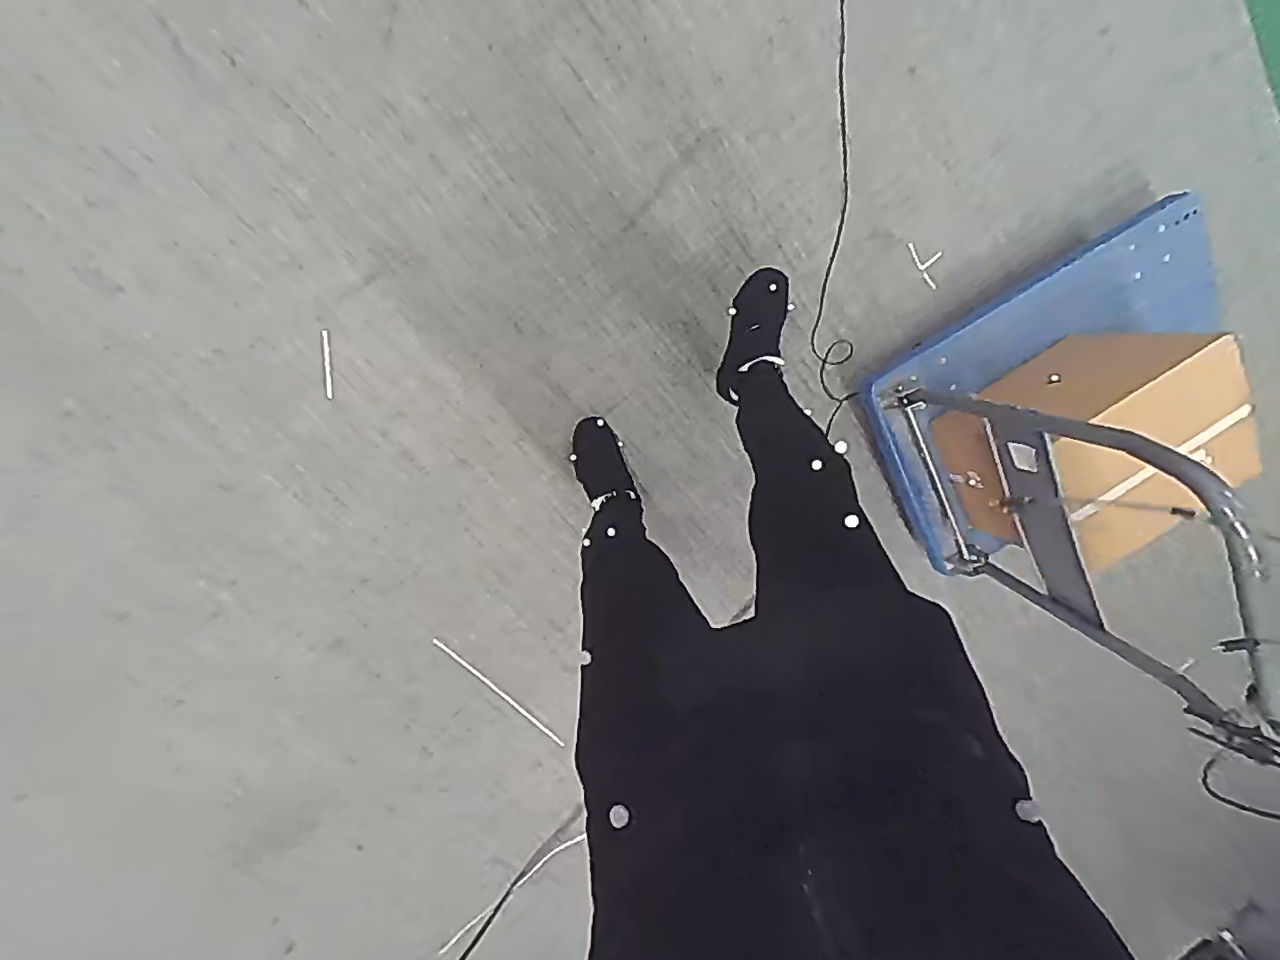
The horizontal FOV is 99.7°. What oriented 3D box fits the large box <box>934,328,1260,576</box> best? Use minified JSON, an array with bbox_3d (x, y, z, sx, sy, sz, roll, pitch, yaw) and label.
[{"bbox_3d":[0.935,-0.076,1.145,0.408,0.320,0.320,-32,108,-1],"label":"large box"}]
